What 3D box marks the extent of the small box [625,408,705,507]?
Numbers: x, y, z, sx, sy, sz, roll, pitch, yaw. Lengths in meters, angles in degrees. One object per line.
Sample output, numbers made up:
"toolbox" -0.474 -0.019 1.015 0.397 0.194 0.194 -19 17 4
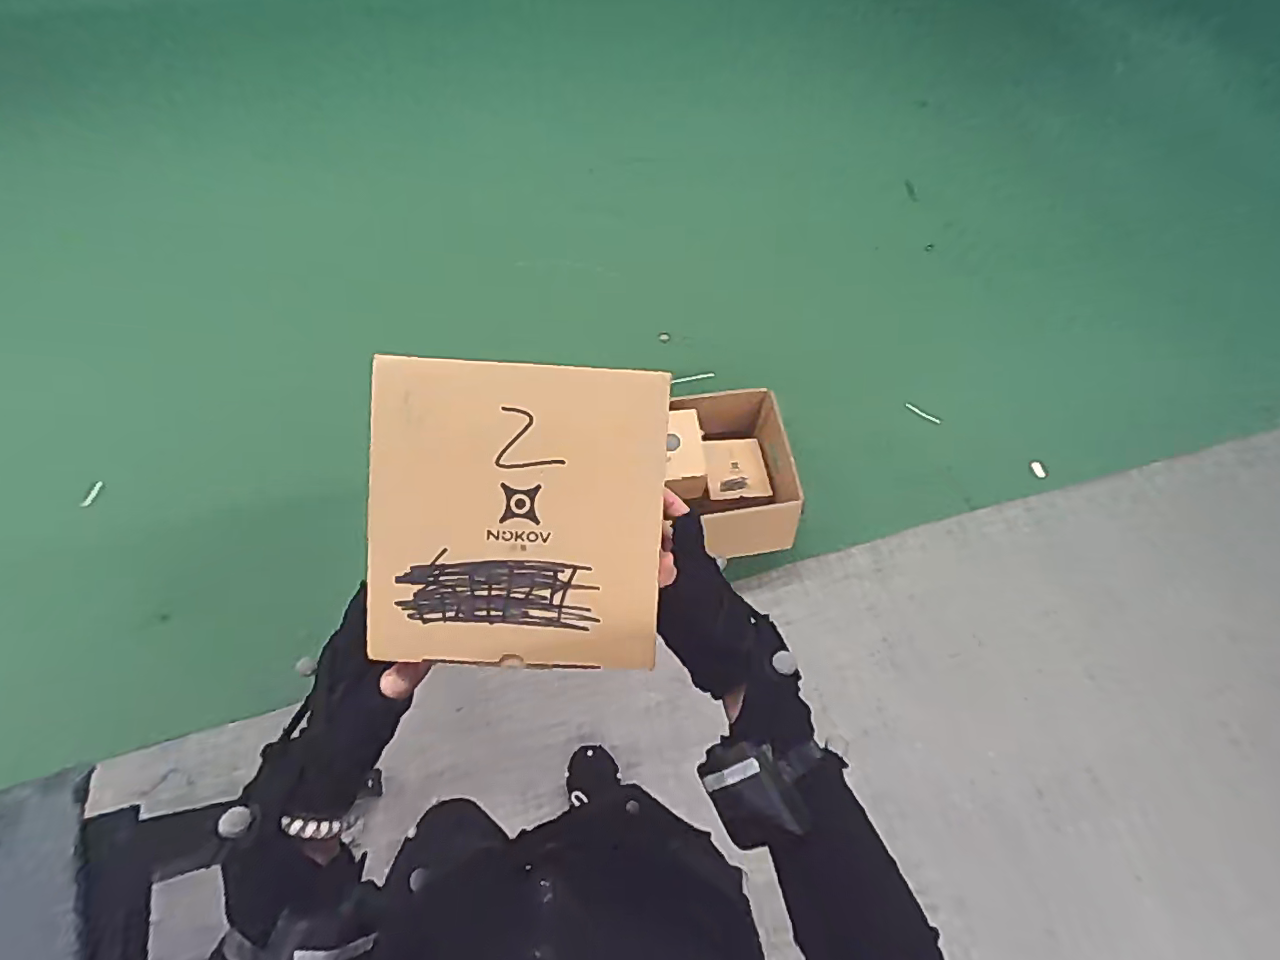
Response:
"small box" 0.052 -0.051 1.298 0.168 0.176 0.179 -6 67 -4
